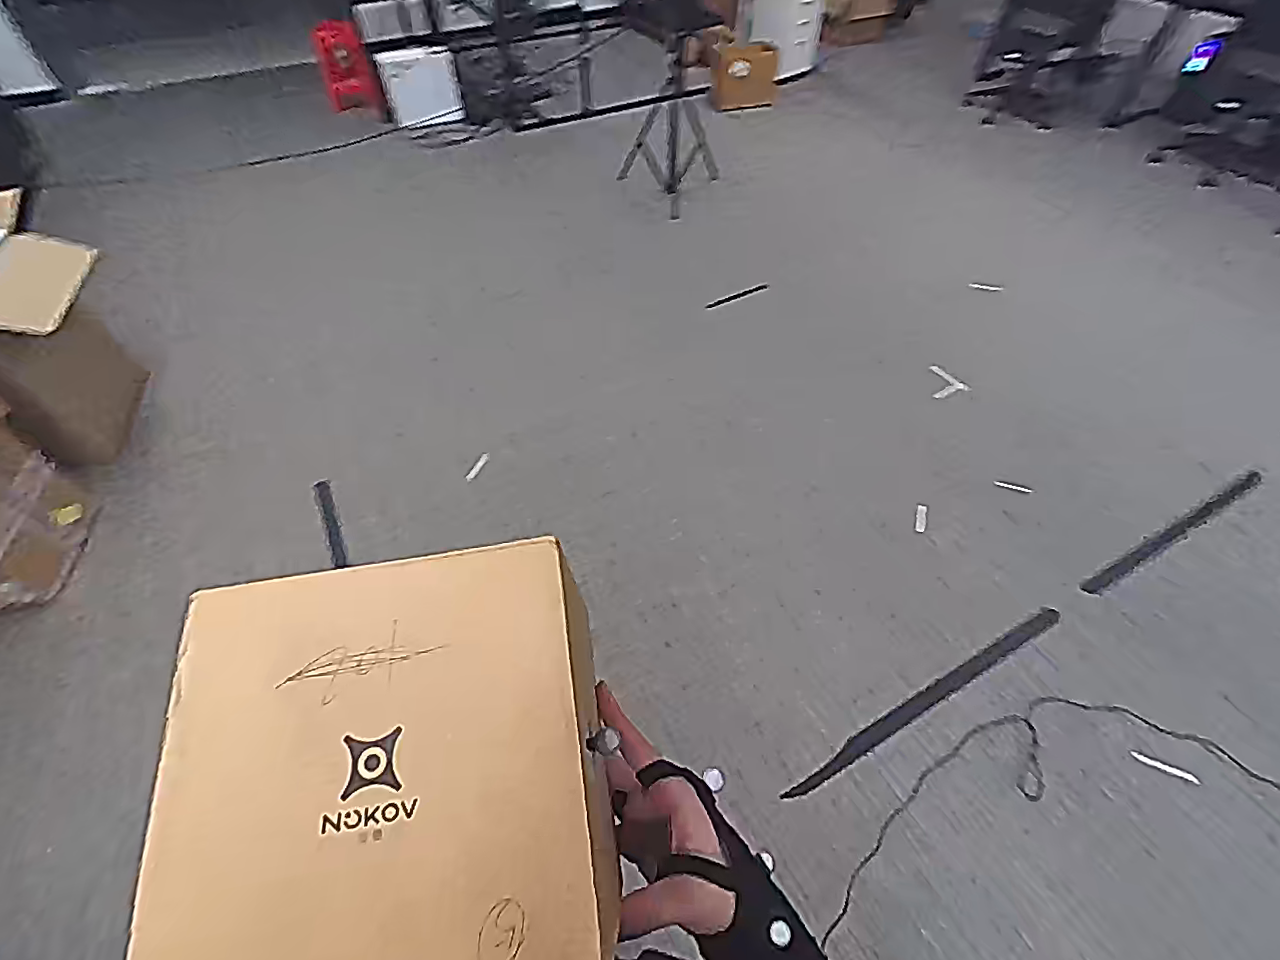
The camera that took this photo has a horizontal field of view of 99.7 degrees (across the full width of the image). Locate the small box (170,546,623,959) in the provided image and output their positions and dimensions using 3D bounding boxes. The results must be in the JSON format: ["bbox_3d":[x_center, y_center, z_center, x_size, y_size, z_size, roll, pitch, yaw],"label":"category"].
[{"bbox_3d":[-0.102,0.154,0.300,0.168,0.176,0.179,-9,65,-5],"label":"small box"}]
